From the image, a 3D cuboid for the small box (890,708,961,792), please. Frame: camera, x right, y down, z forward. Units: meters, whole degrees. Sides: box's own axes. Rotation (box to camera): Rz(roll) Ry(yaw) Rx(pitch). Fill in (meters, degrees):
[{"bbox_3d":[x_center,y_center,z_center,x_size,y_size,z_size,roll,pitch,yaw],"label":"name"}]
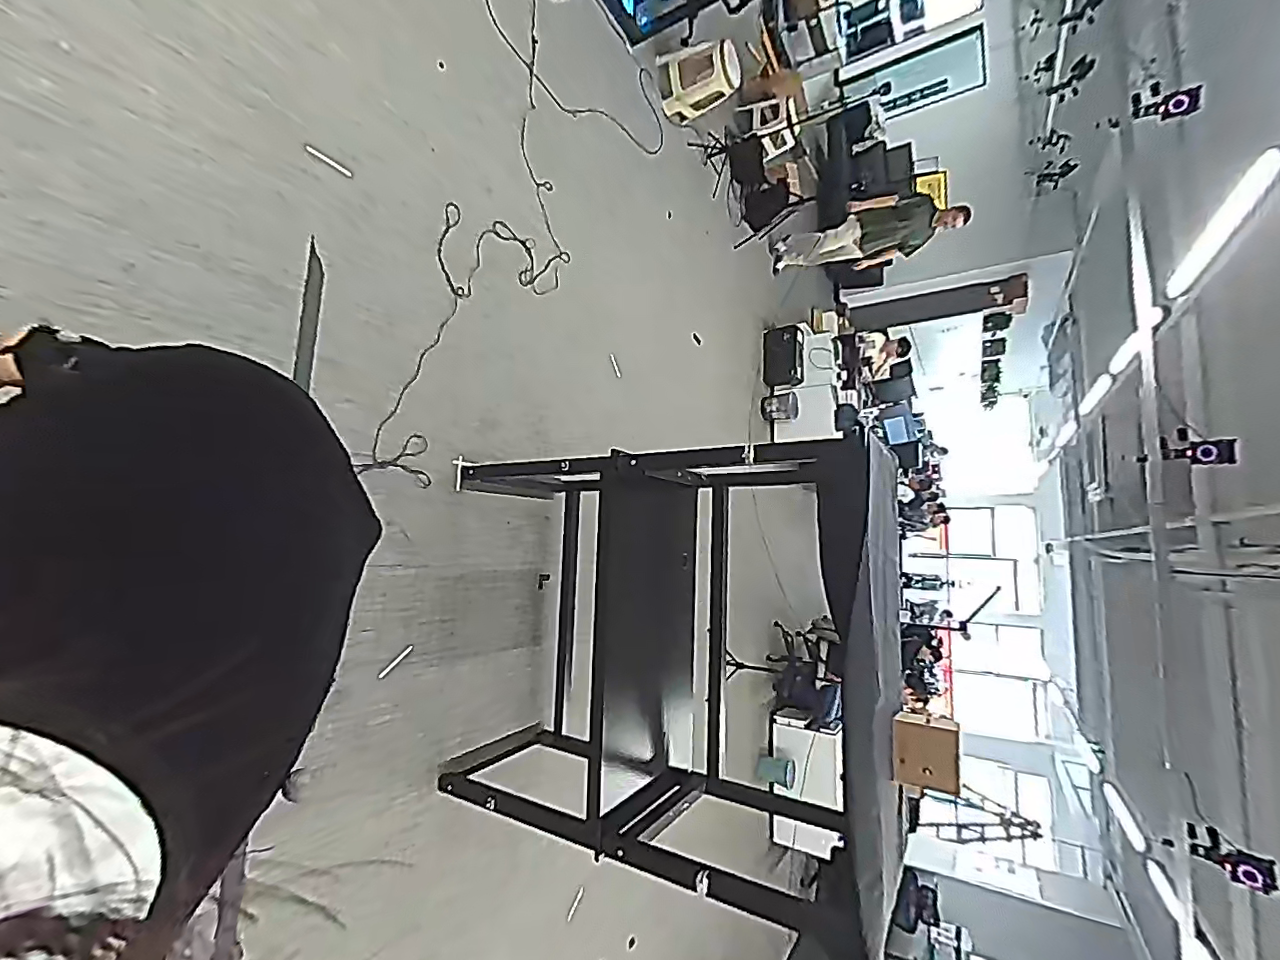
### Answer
[{"bbox_3d":[0.817,0.764,1.548,0.179,0.176,0.168,22,70,-57],"label":"small box"}]
